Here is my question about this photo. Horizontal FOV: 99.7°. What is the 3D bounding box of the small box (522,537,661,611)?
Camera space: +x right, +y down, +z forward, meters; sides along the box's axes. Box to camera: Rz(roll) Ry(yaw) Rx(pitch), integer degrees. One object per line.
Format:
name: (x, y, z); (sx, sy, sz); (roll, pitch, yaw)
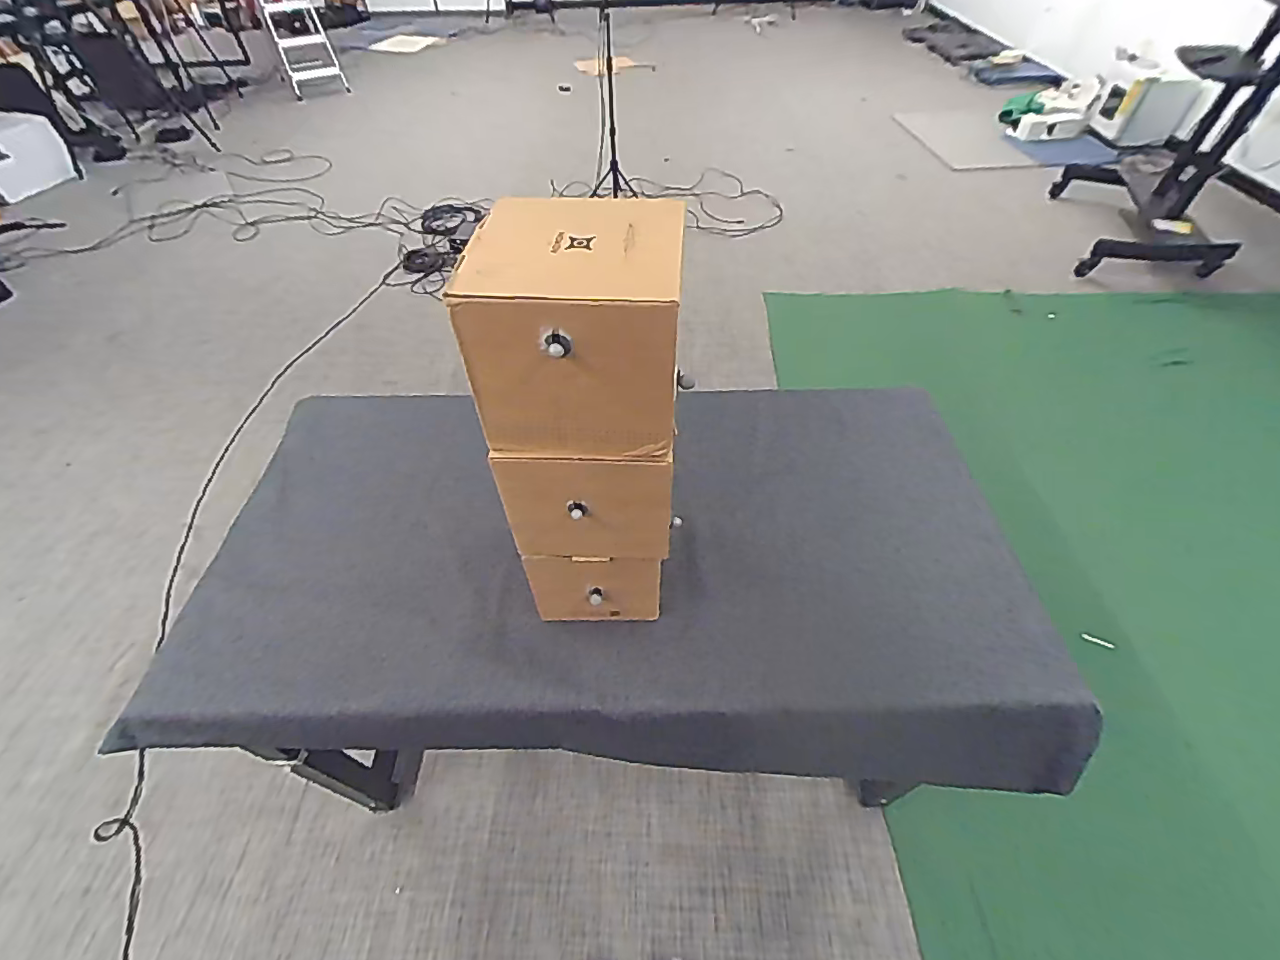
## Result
small box: (-0.056, 0.071, 0.750); (0.168, 0.176, 0.179); (-2, 50, 1)

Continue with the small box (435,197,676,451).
small box: (-0.057, -0.140, 0.500); (0.179, 0.176, 0.168); (2, 51, 3)

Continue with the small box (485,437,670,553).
small box: (-0.055, -0.029, 0.619); (0.179, 0.176, 0.168); (0, 49, 3)
